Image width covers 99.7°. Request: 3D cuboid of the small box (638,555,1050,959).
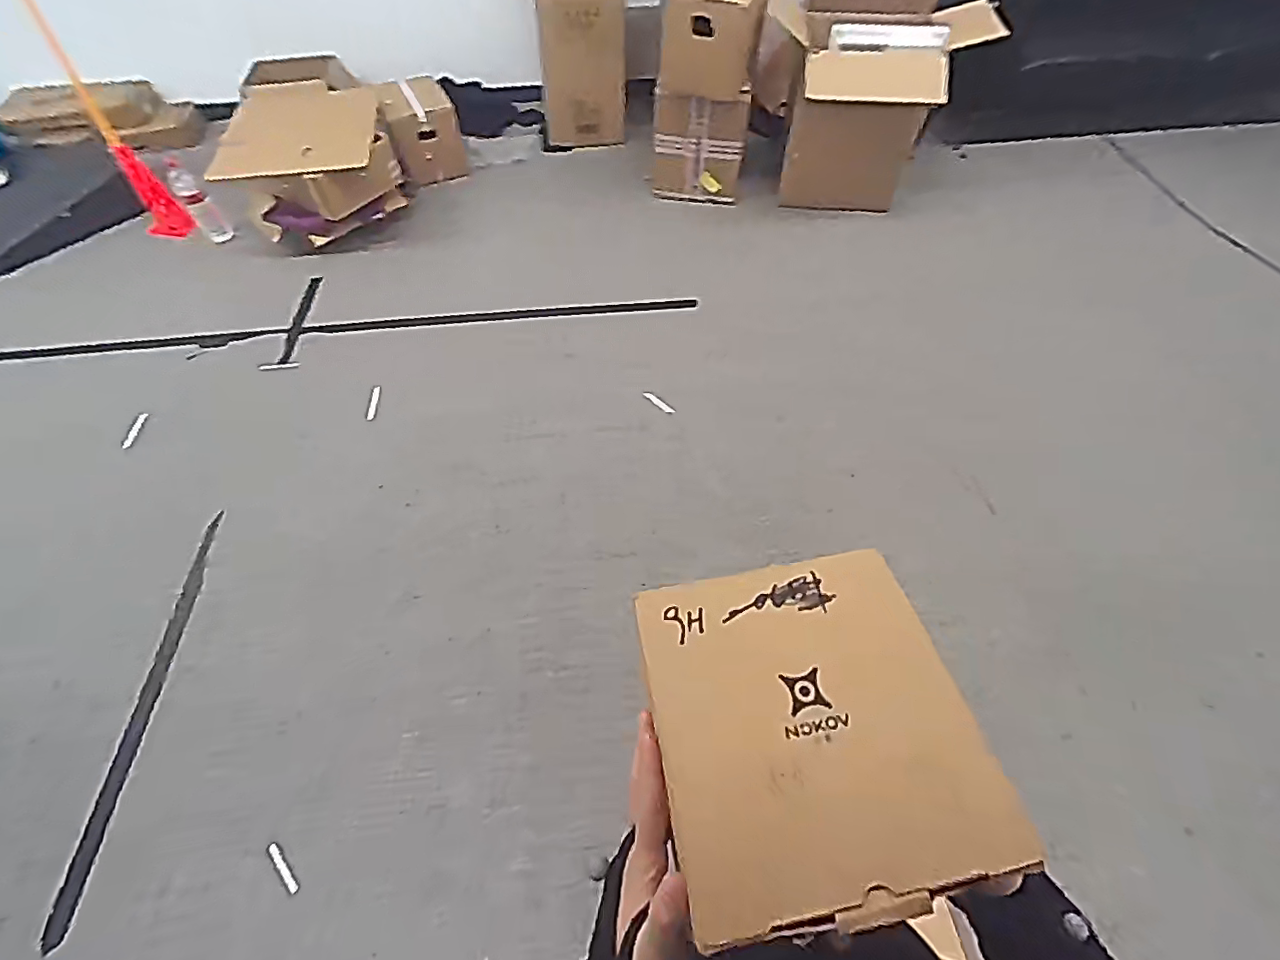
[{"bbox_3d":[0.096,0.176,0.352,0.168,0.176,0.179,-9,52,-6],"label":"small box"}]
